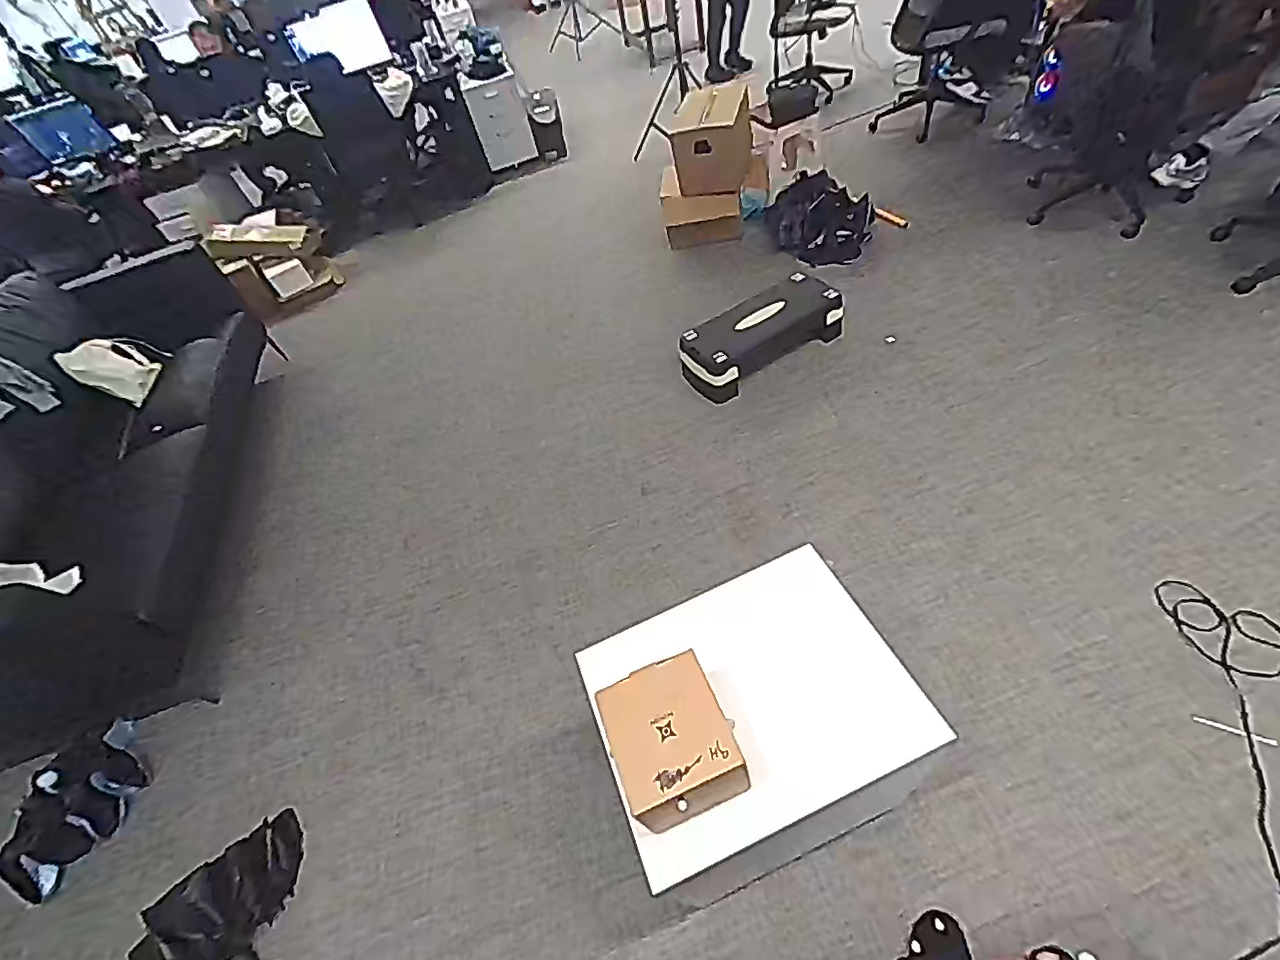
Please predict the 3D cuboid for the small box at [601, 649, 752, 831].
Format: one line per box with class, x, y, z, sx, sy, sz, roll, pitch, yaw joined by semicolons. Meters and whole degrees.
small box;0.057;0.395;0.821;0.168;0.176;0.179;-23;48;-4
